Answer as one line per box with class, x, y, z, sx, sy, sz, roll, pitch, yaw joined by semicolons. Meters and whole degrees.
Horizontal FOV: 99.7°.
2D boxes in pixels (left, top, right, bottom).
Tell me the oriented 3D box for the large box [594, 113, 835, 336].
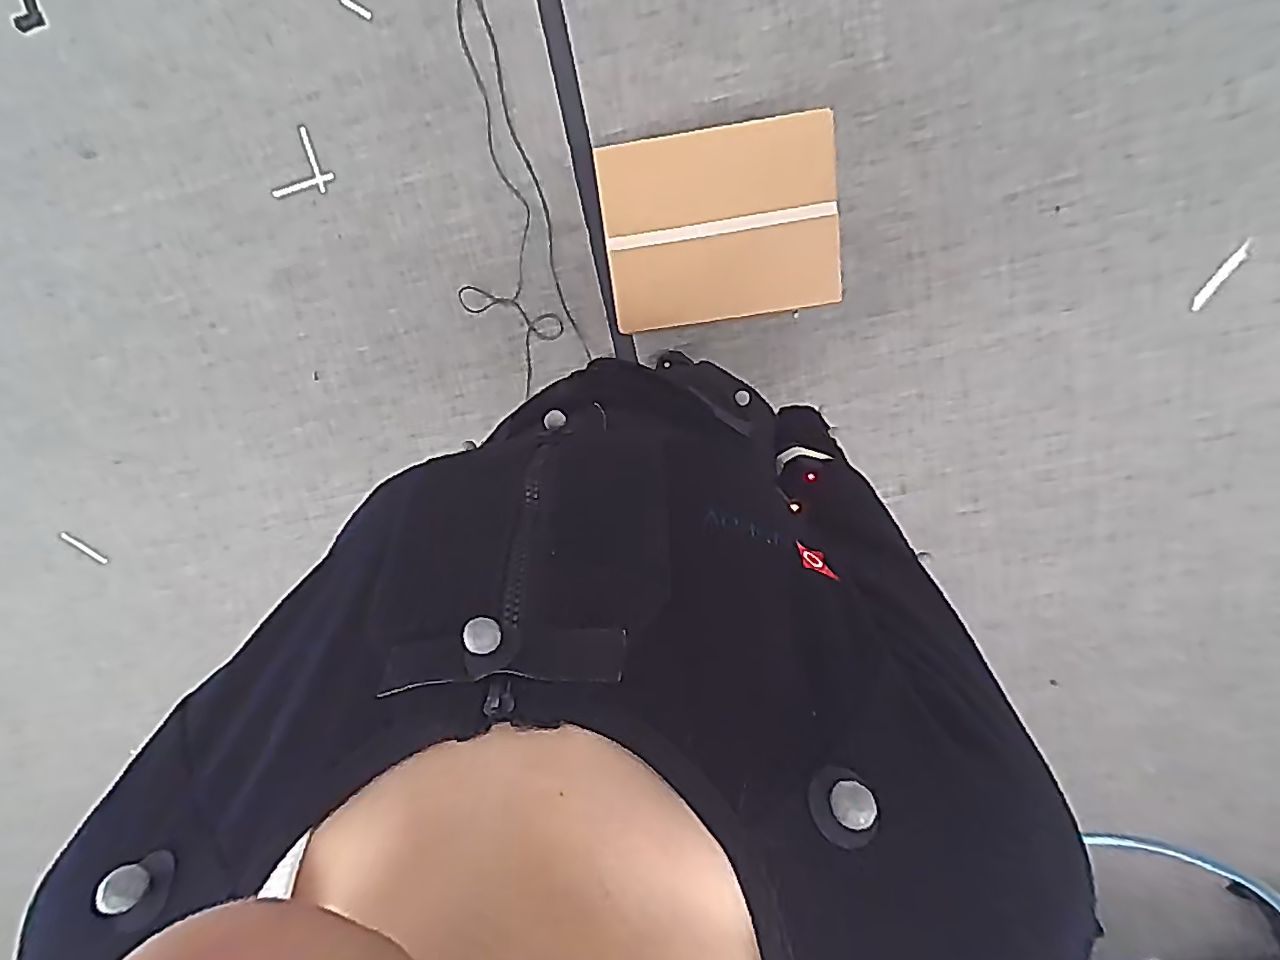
large box;0.144;-0.480;1.098;0.408;0.320;0.320;-7;104;5
